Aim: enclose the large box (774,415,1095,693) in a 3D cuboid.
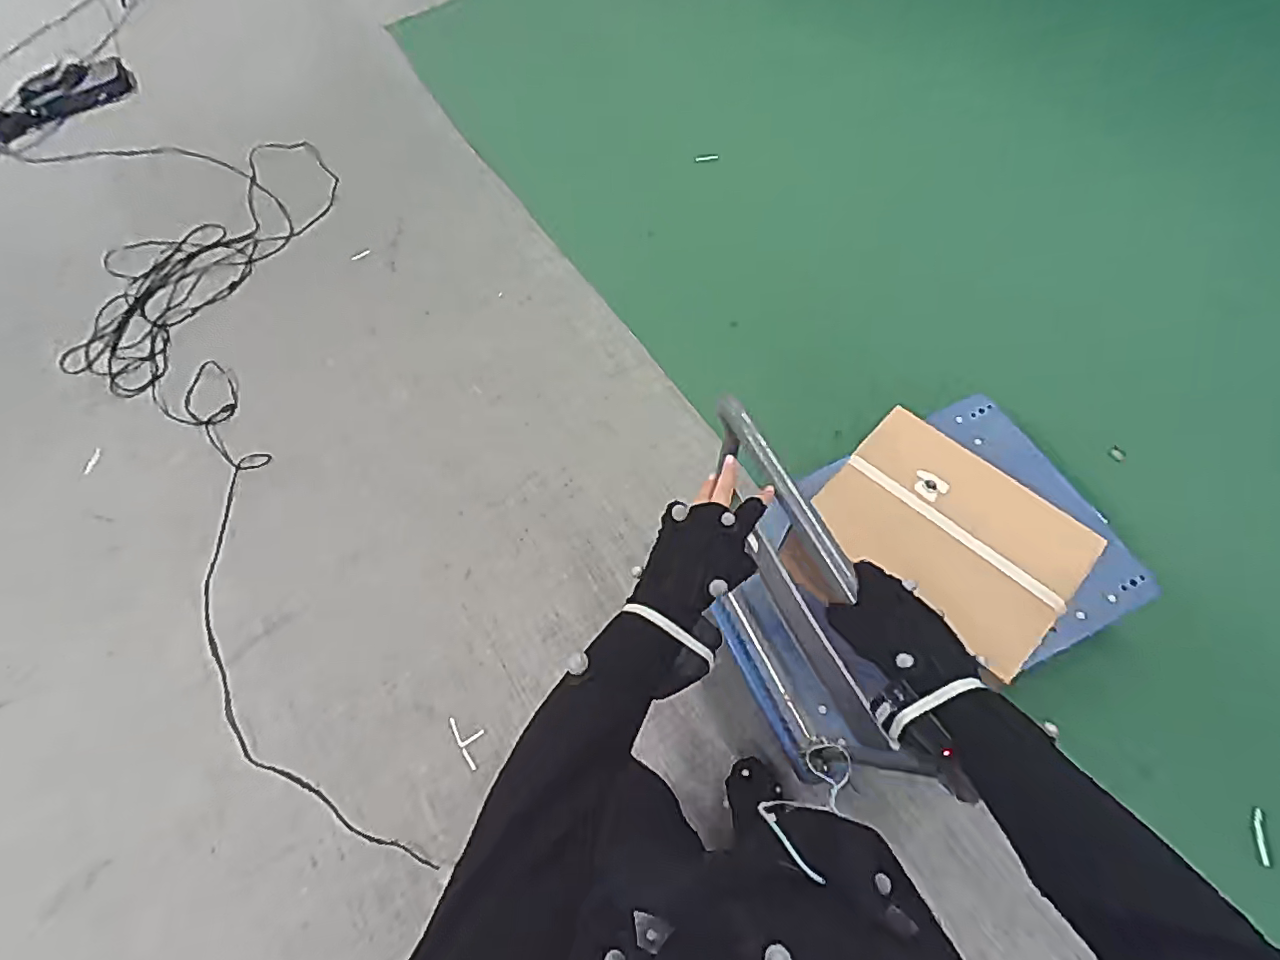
[{"bbox_3d":[0.532,0.156,1.069,0.320,0.320,0.408,-43,68,-14],"label":"large box"}]
